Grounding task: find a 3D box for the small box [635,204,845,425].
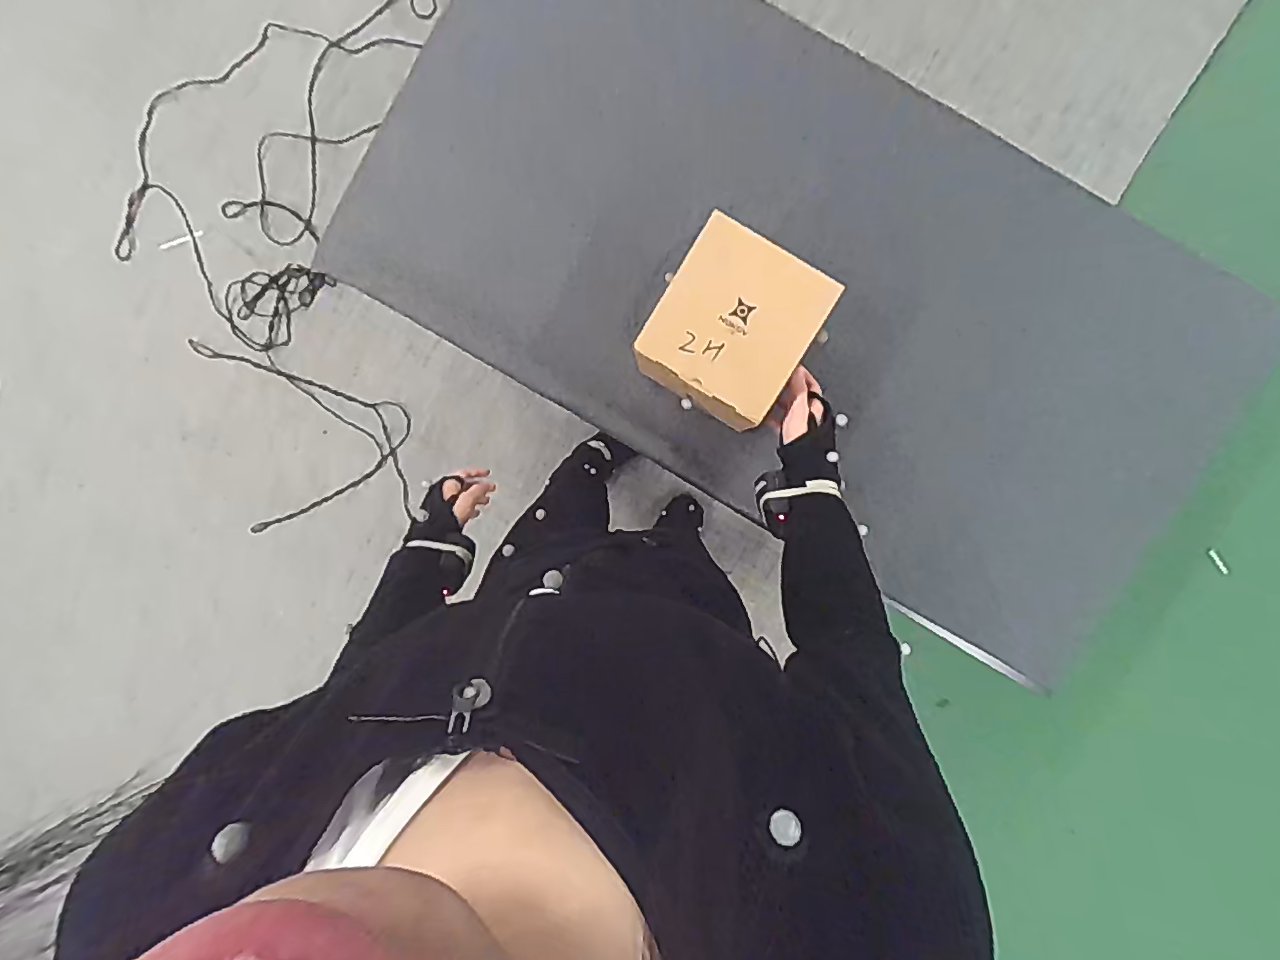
[{"bbox_3d":[0.109,-0.183,0.657,0.168,0.176,0.179,32,94,2],"label":"small box"}]
